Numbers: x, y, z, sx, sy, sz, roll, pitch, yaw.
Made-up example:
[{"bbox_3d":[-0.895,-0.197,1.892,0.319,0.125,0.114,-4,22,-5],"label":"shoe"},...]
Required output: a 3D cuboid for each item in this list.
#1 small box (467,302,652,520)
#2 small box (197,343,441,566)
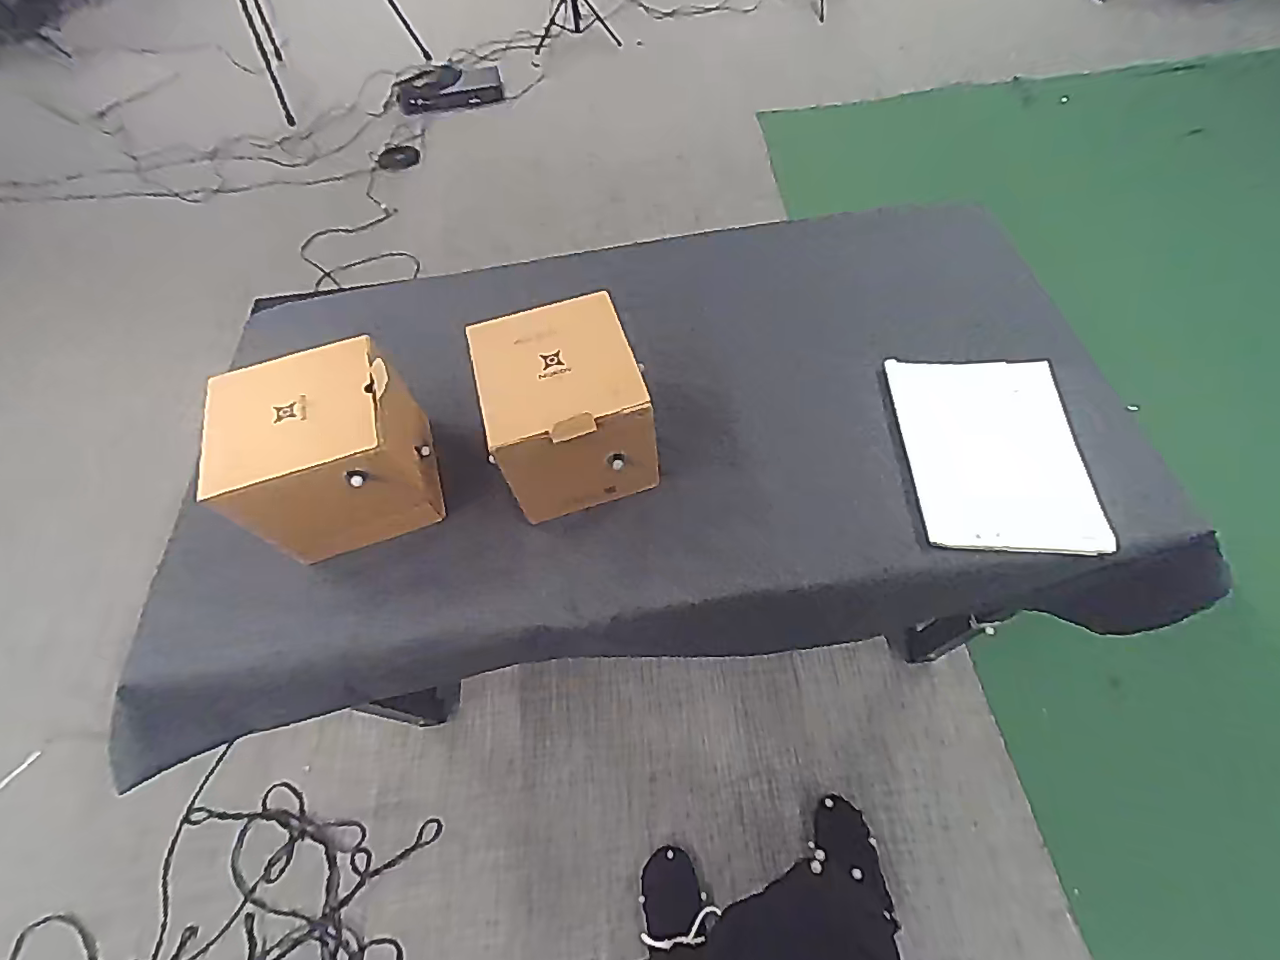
[{"bbox_3d":[-0.087,-0.071,0.635,0.168,0.176,0.179,-16,58,-7],"label":"small box"},{"bbox_3d":[-0.355,-0.023,0.626,0.179,0.176,0.168,-18,59,-8],"label":"small box"}]
